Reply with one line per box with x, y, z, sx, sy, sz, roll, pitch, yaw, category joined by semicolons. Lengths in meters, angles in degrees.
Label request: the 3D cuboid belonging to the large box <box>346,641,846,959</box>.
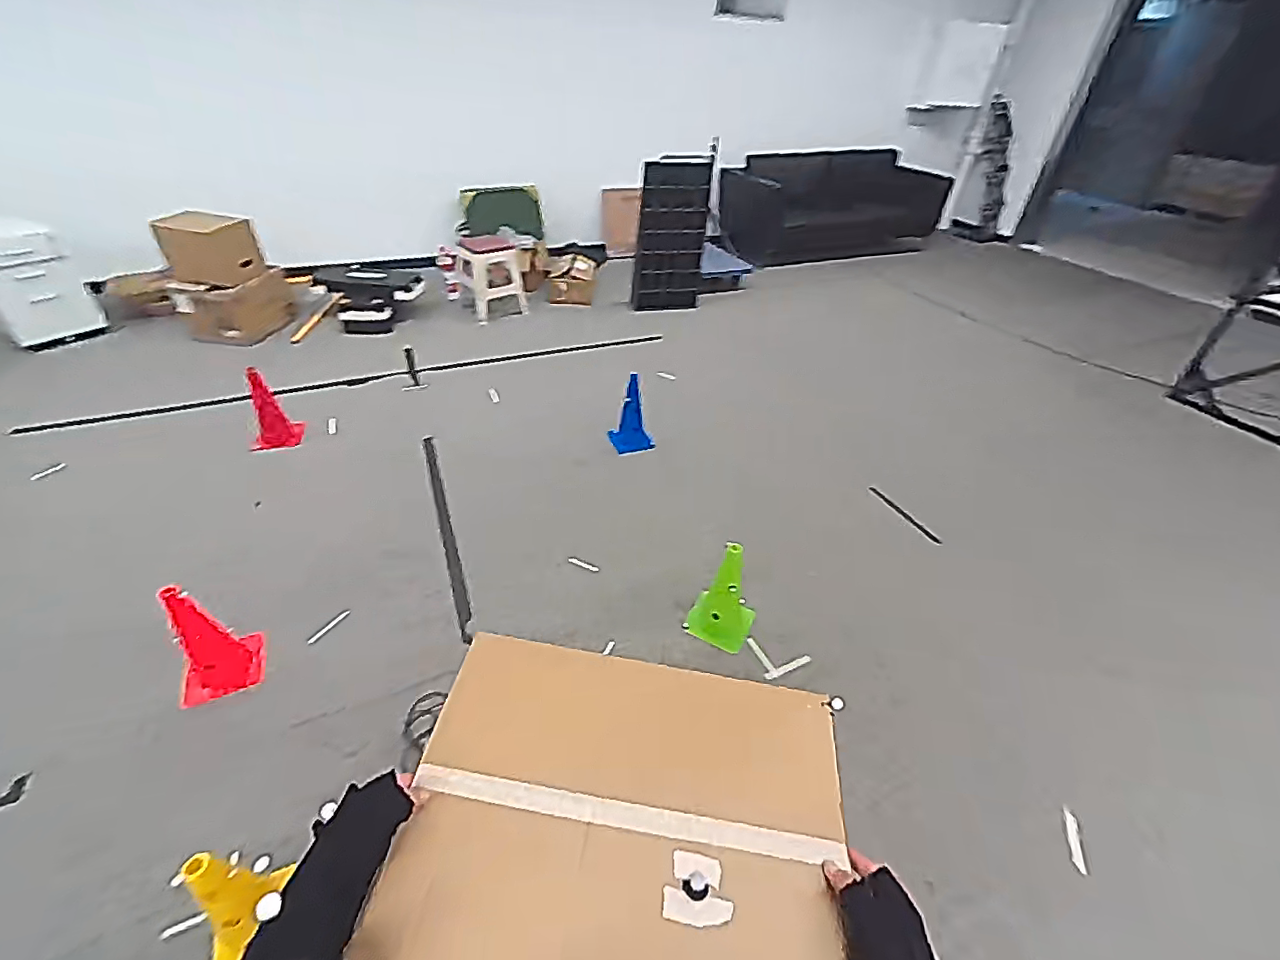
-0.031;0.424;0.604;0.408;0.320;0.320;10;42;2;large box

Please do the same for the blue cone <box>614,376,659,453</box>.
-0.012;-0.324;2.600;0.192;0.380;0.193;-10;40;-18;blue cone

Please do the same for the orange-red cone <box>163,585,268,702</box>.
-1.229;0.424;1.522;0.198;0.360;0.199;-15;43;-21;orange-red cone

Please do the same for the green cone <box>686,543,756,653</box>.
0.291;0.348;1.741;0.200;0.368;0.202;22;40;20;green cone

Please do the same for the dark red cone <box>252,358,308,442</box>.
-1.676;-0.367;2.453;0.201;0.394;0.202;-8;40;-16;dark red cone
